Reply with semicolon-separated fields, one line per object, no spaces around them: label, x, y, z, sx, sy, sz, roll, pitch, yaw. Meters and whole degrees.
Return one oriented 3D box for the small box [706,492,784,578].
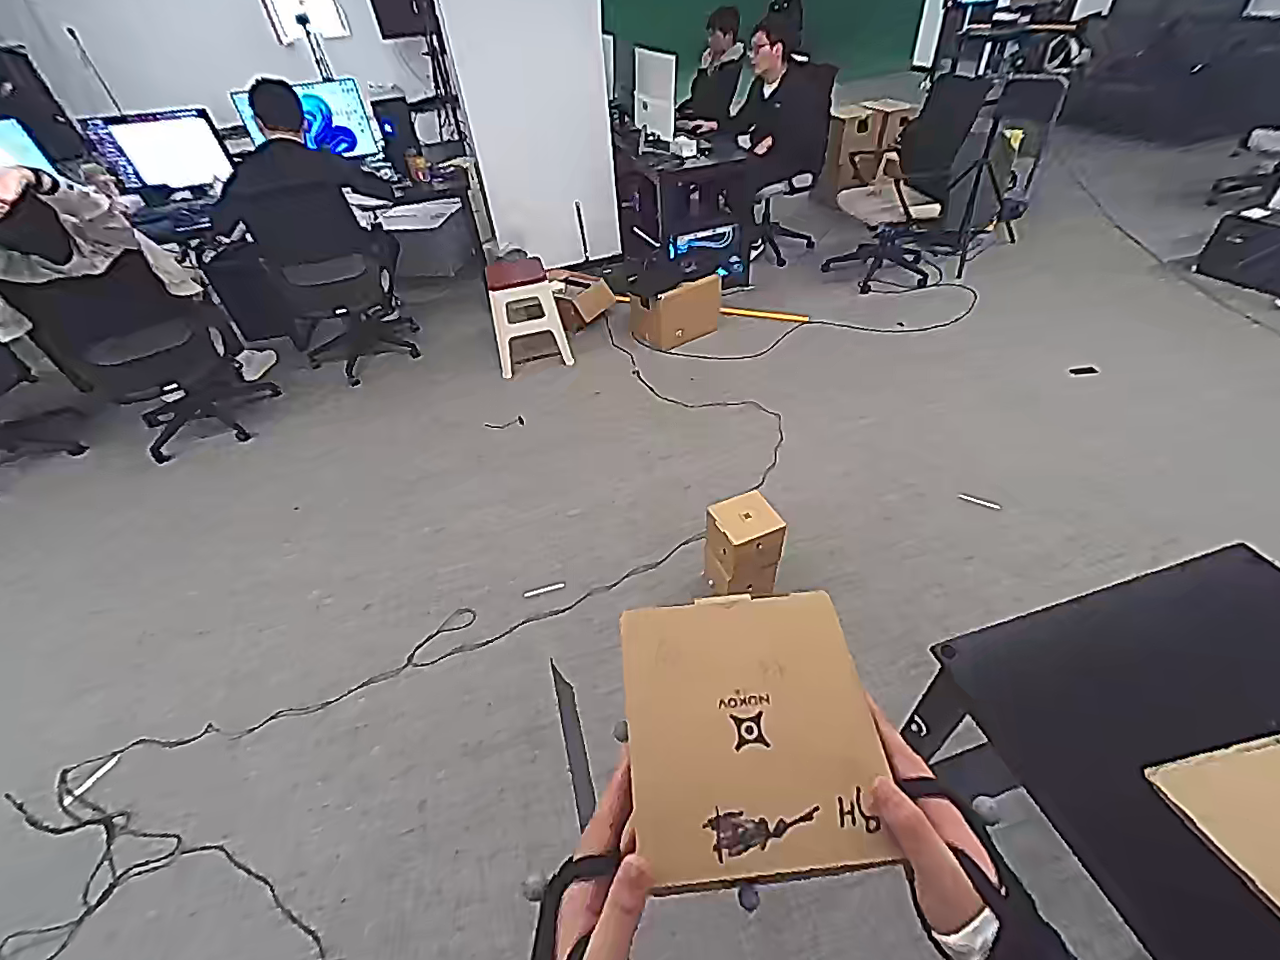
small box;0.313;0.170;1.640;0.179;0.176;0.168;-18;45;-15

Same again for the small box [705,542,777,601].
small box;0.319;0.290;1.749;0.179;0.176;0.168;-18;44;-11

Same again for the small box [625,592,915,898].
small box;0.076;0.211;0.429;0.168;0.176;0.179;-6;51;-2
